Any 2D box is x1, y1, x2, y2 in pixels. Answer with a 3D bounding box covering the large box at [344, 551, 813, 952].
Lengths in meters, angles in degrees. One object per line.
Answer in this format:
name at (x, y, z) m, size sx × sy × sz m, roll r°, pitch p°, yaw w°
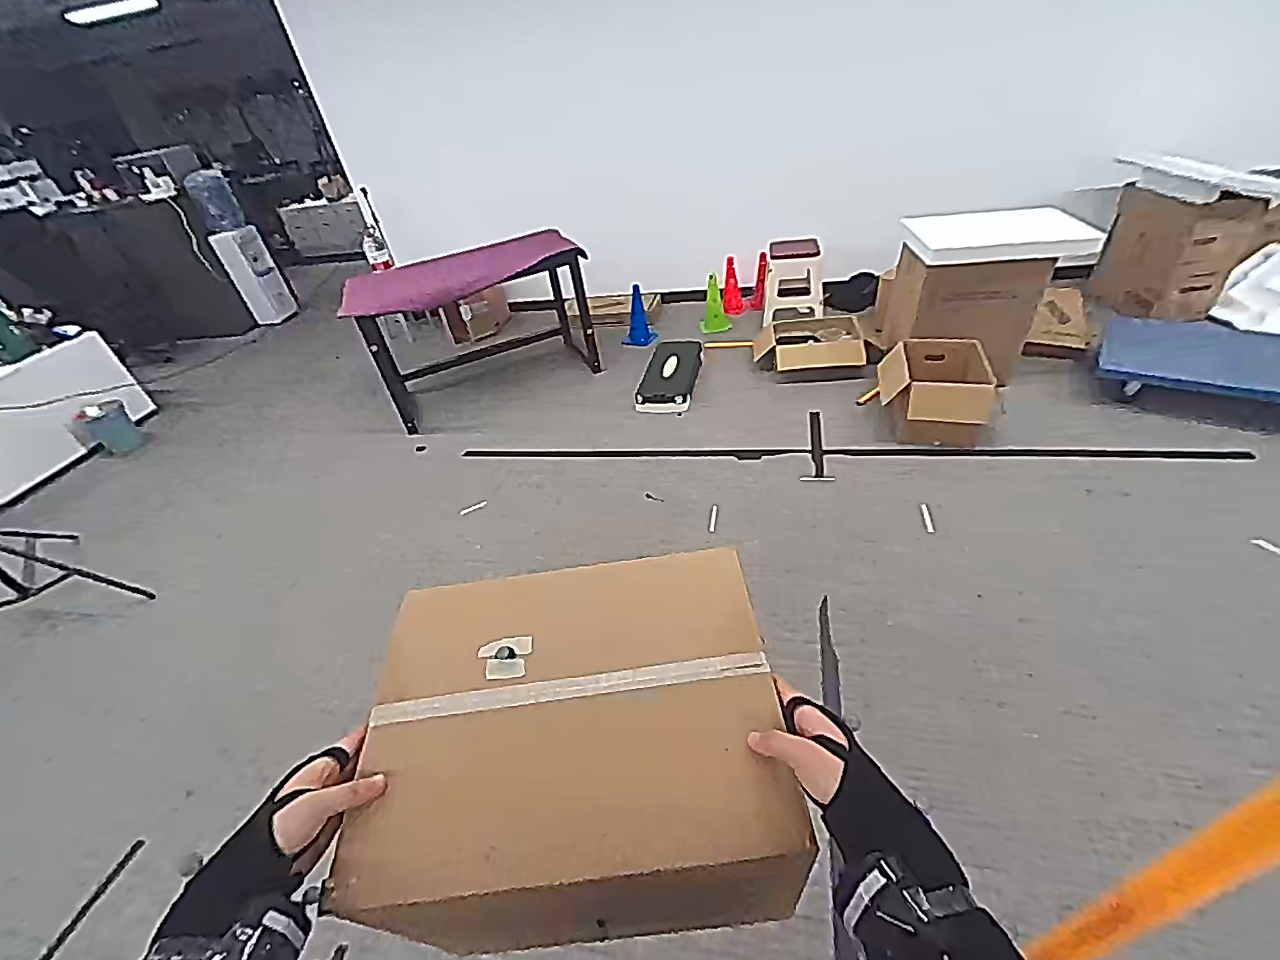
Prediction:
large box at (-0.047, 0.329, 0.655) m, size 0.408 × 0.320 × 0.320 m, roll -9°, pitch 42°, yaw 1°
